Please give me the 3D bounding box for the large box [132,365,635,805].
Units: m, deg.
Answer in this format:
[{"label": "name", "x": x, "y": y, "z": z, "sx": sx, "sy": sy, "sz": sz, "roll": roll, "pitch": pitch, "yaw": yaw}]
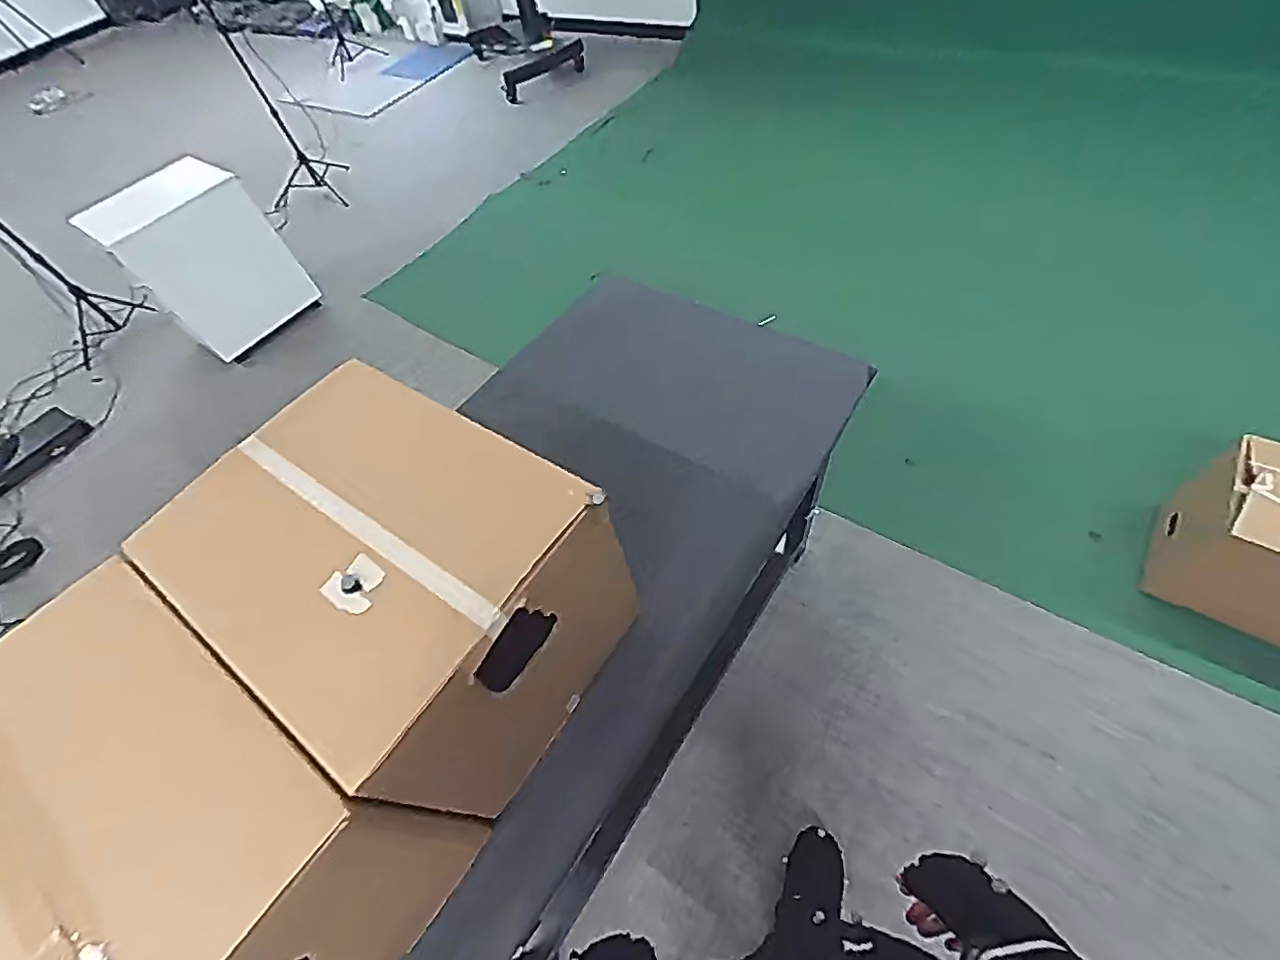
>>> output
[{"label": "large box", "x": -0.265, "y": 0.123, "z": 0.667, "sx": 0.408, "sy": 0.320, "sz": 0.320, "roll": 27, "pitch": 64, "yaw": 23}]
